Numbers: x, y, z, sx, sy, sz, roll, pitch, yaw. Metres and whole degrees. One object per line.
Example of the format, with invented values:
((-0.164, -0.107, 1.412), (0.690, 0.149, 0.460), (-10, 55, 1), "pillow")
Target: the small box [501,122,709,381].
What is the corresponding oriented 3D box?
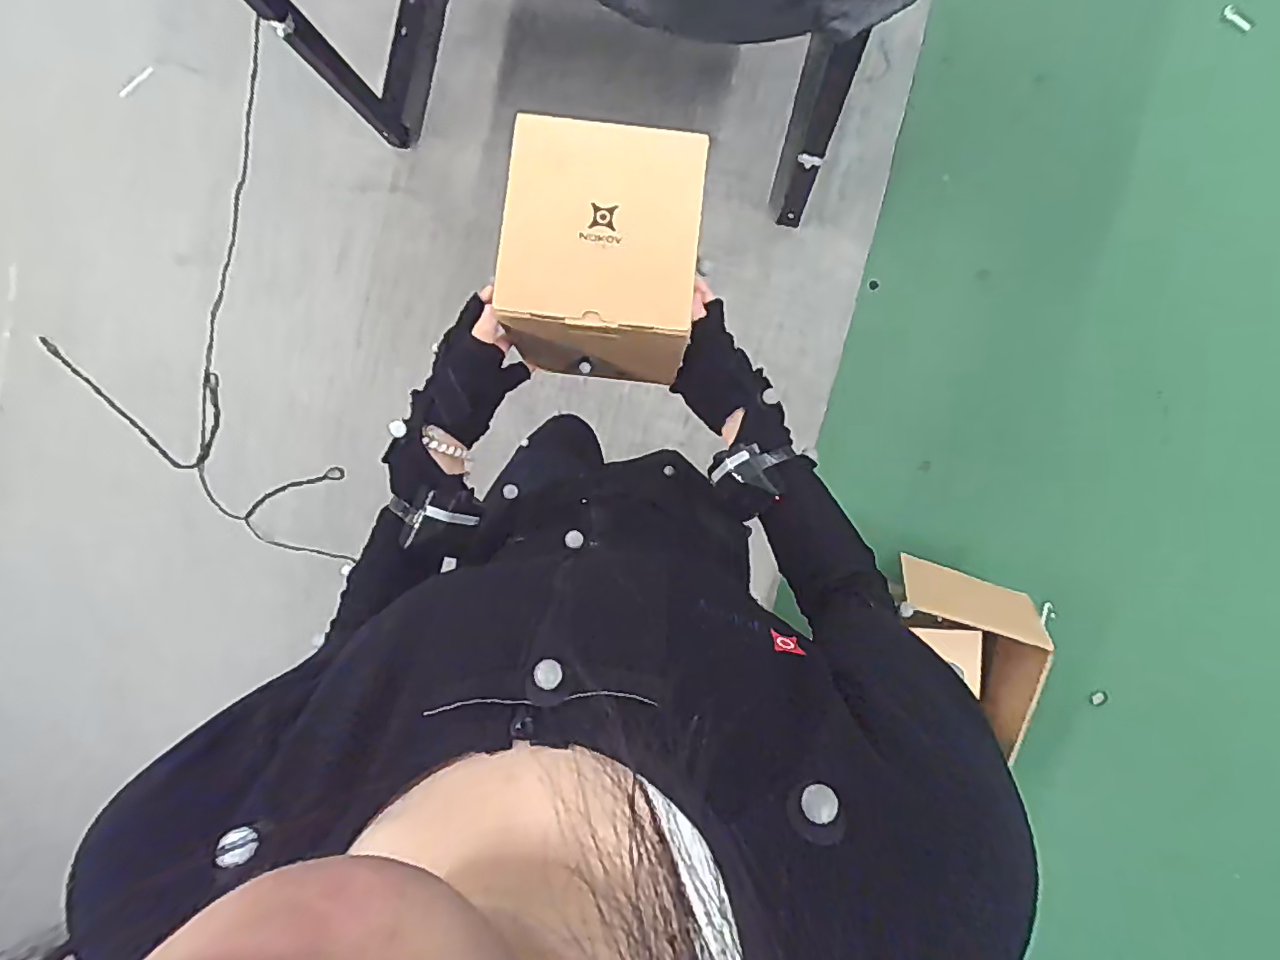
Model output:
((-0.032, -0.213, 0.546), (0.168, 0.176, 0.179), (6, 87, -1), "small box")
